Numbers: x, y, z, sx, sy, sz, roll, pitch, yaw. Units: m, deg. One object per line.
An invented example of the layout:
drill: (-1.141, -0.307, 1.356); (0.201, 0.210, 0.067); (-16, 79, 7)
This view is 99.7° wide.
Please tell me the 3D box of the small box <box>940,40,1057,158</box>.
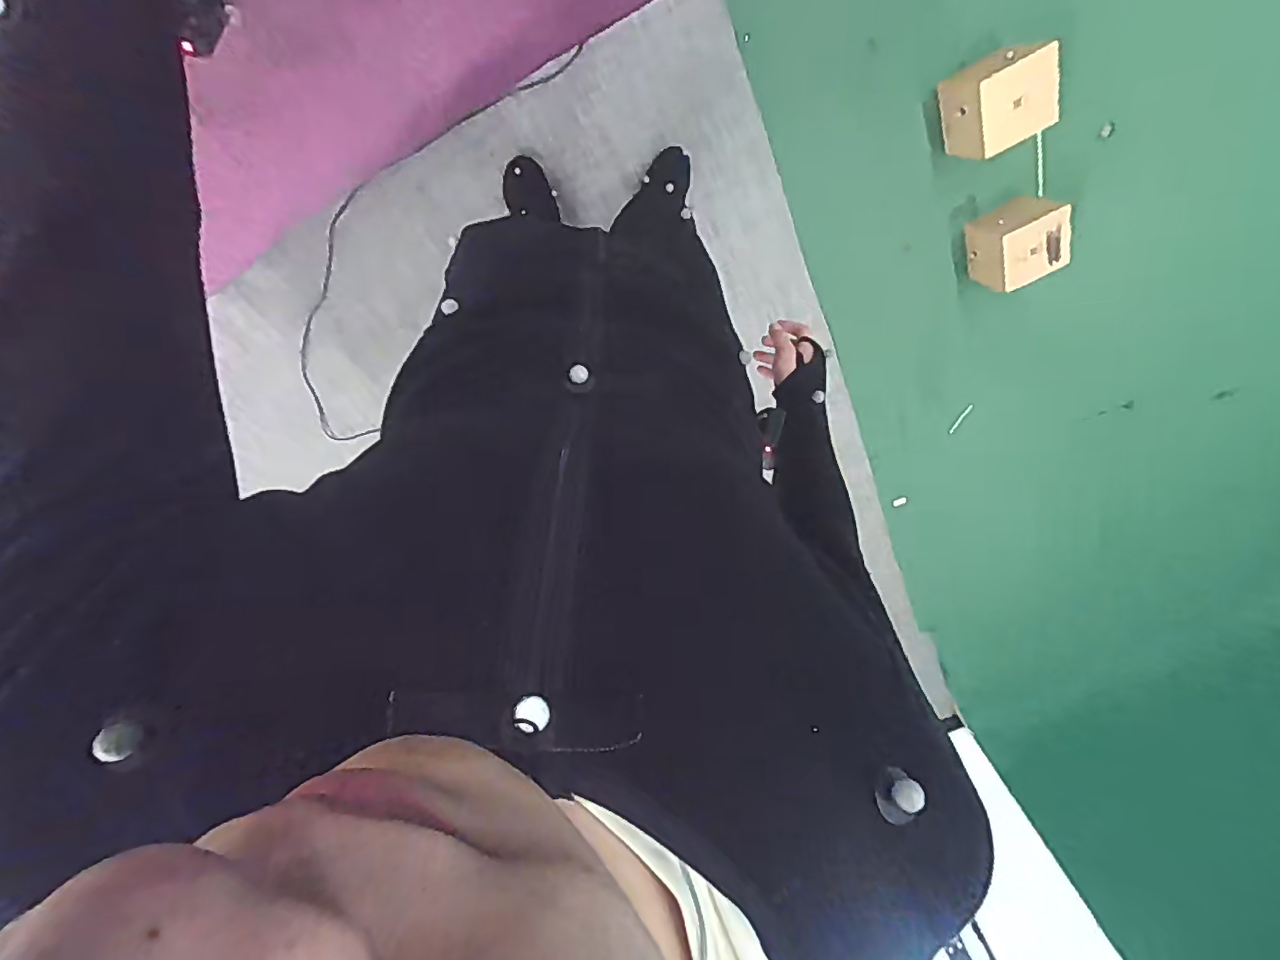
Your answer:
small box: (0.836, -0.892, 1.277); (0.179, 0.176, 0.168); (-27, 124, 9)
